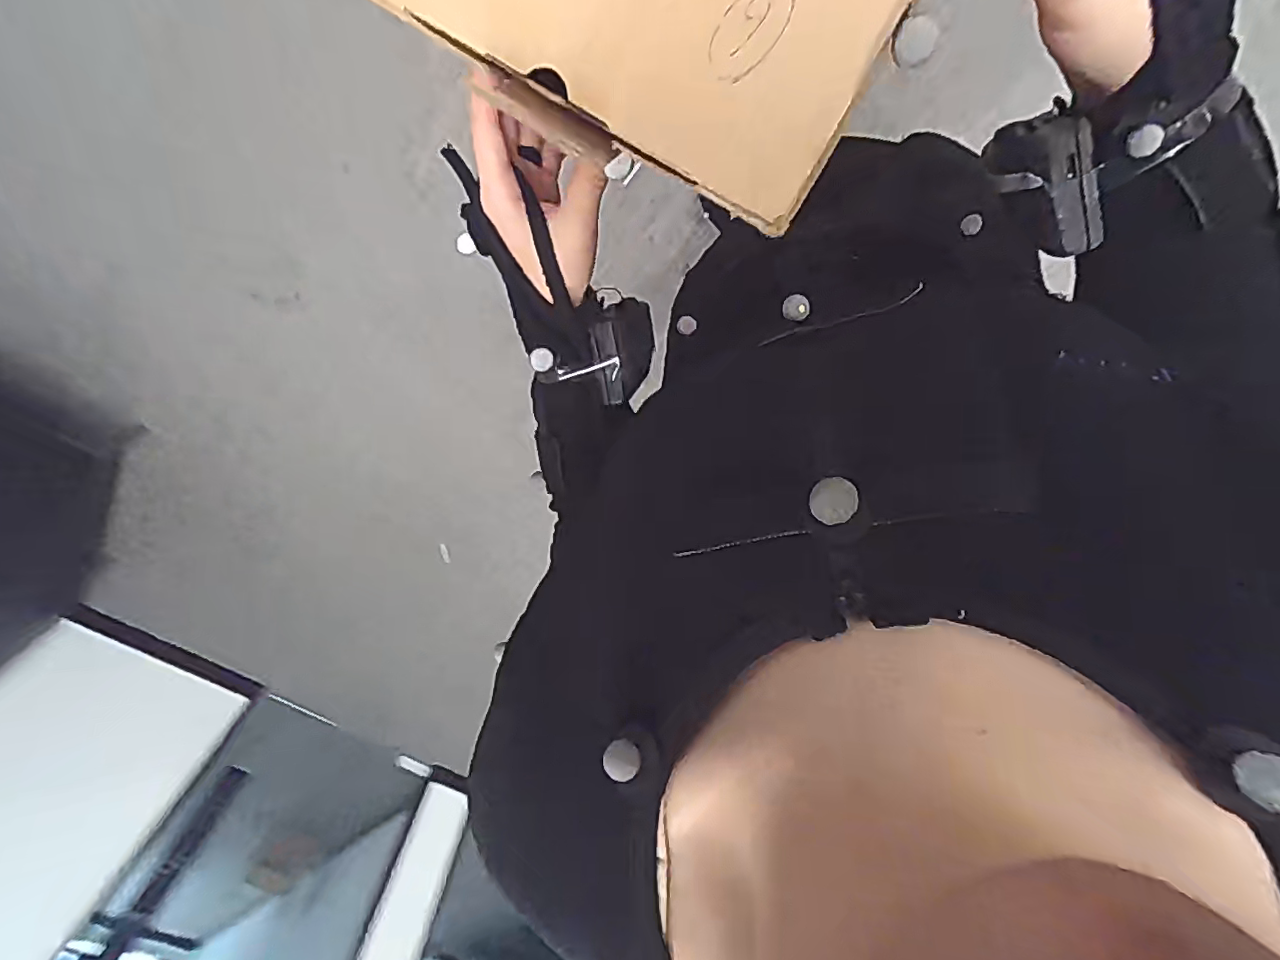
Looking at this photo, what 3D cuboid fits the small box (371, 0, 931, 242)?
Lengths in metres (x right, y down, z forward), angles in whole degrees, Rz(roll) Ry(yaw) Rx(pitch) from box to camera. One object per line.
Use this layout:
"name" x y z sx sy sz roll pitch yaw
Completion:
"small box" 0.035 -0.218 0.208 0.168 0.176 0.179 31 120 0
